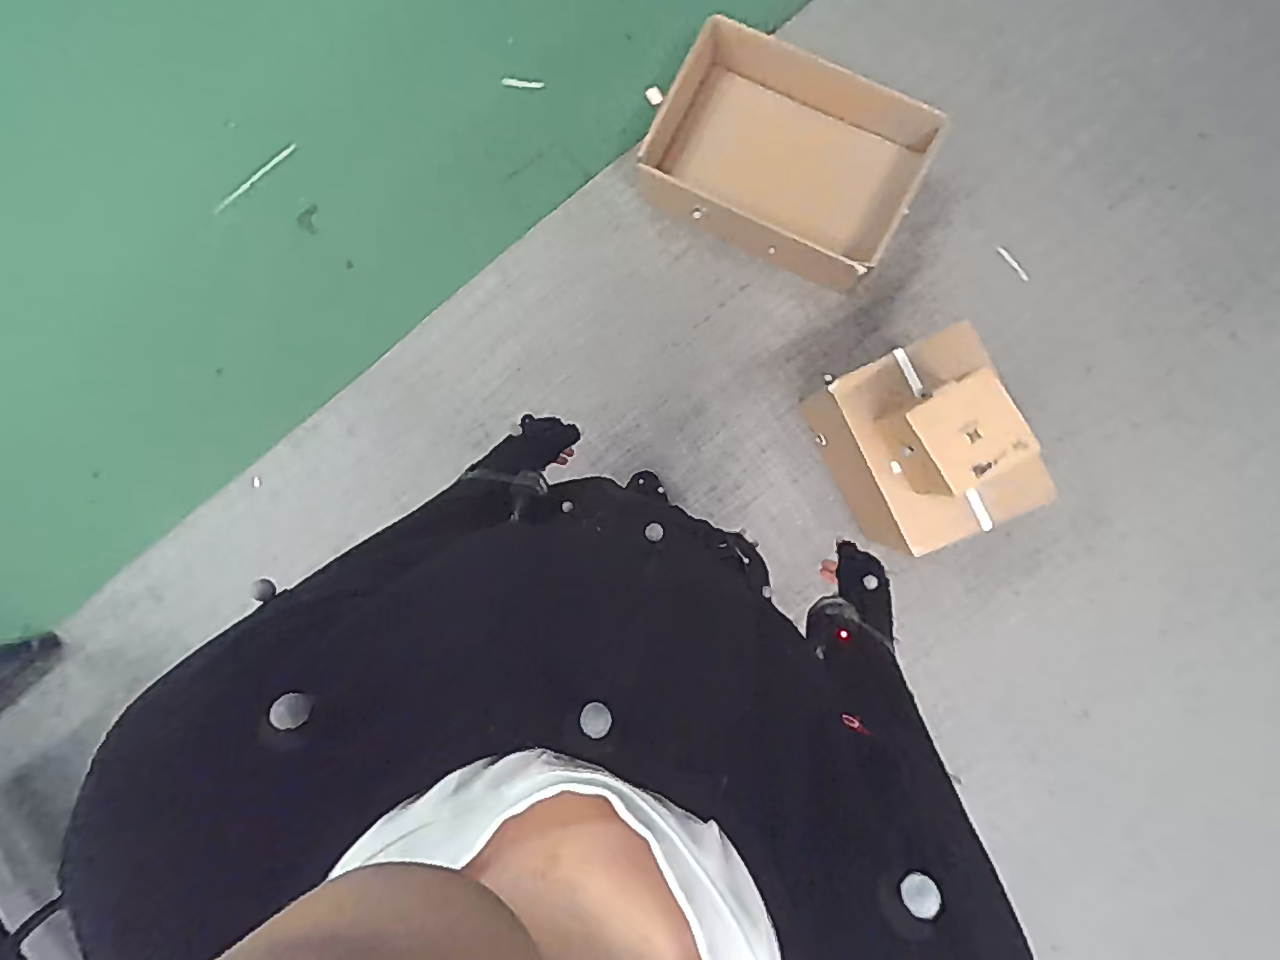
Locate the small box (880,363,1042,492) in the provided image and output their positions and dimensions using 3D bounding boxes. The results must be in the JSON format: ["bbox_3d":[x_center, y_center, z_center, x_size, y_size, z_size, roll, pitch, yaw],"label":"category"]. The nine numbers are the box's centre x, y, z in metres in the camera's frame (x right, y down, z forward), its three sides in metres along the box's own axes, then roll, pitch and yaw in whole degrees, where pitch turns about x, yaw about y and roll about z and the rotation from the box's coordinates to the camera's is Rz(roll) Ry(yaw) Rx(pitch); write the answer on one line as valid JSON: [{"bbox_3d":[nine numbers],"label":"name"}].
[{"bbox_3d":[0.587,-0.088,1.017,0.168,0.176,0.179,-31,86,6],"label":"small box"}]
